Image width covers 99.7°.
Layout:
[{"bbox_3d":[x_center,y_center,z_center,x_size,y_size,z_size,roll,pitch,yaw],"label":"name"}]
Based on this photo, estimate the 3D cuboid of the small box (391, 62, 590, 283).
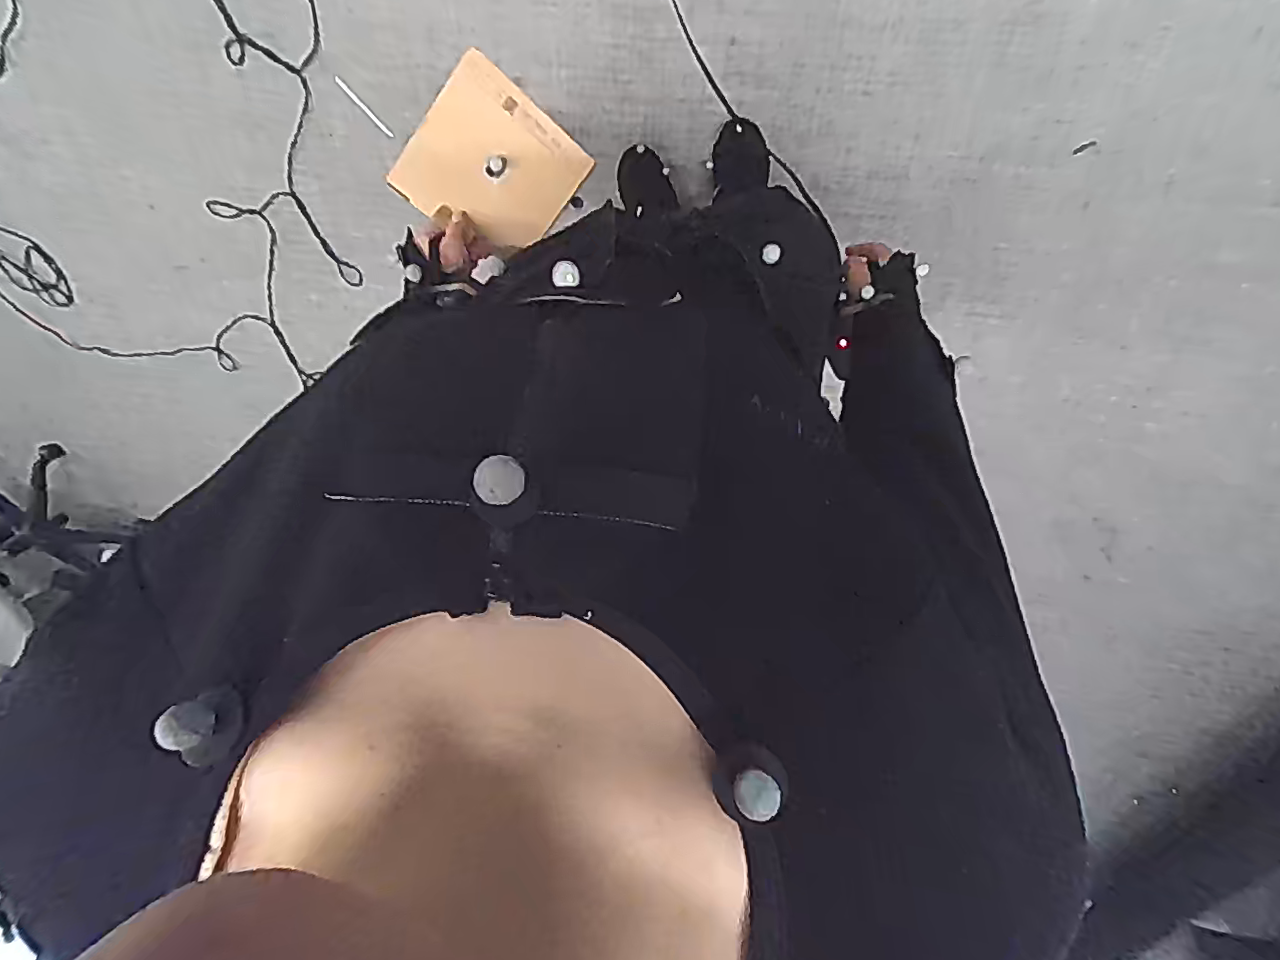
[{"bbox_3d":[-0.179,-0.373,0.681,0.168,0.179,0.176,34,102,-22],"label":"small box"}]
